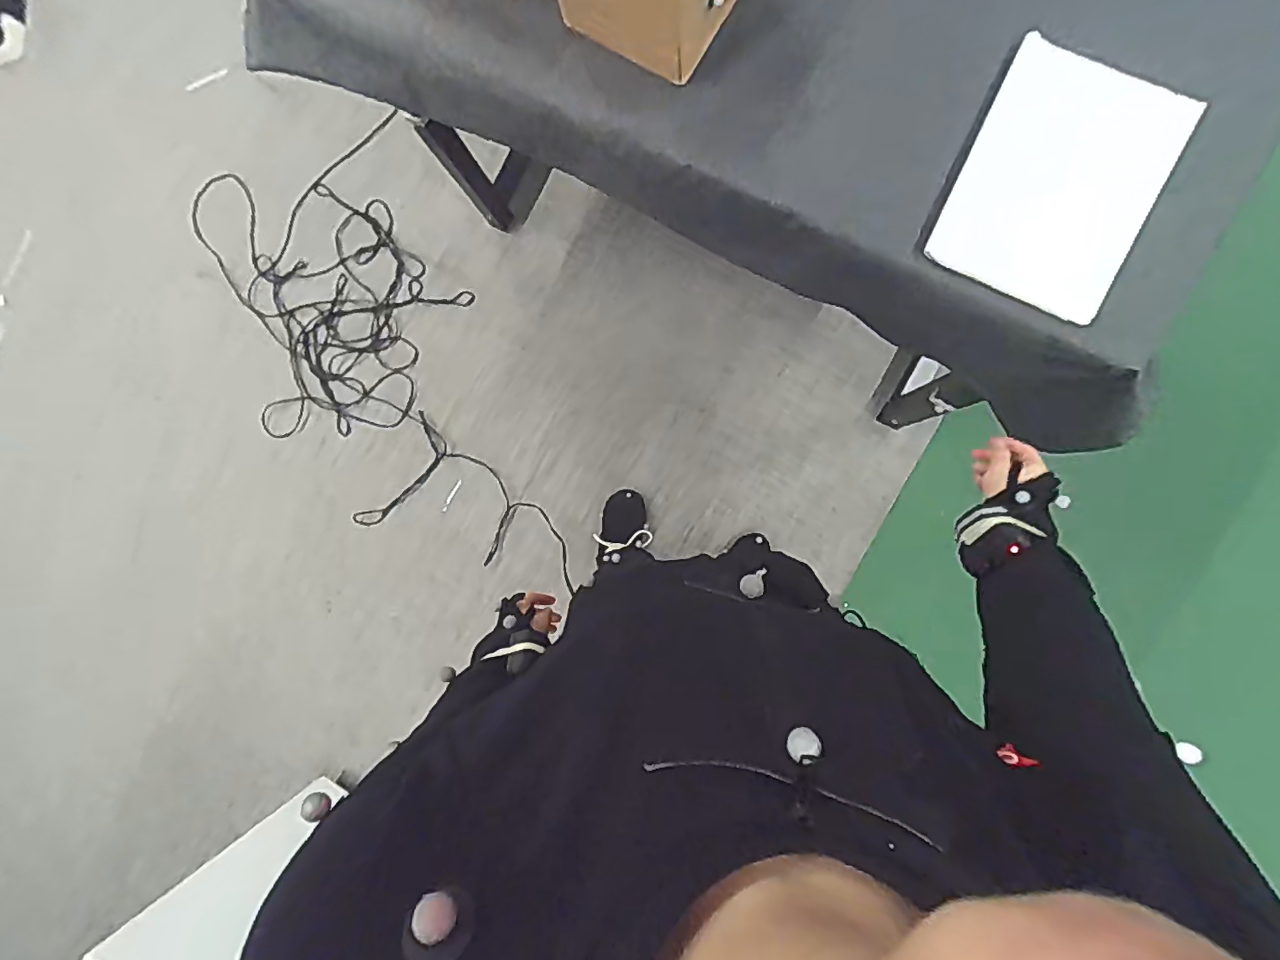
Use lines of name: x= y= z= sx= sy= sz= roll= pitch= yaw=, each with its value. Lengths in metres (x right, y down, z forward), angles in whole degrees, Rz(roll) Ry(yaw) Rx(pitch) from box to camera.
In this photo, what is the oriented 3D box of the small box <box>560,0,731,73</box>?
small box: x=0.008 y=-0.591 z=0.574 sx=0.179 sy=0.176 sz=0.168 roll=32 pitch=92 yaw=5
